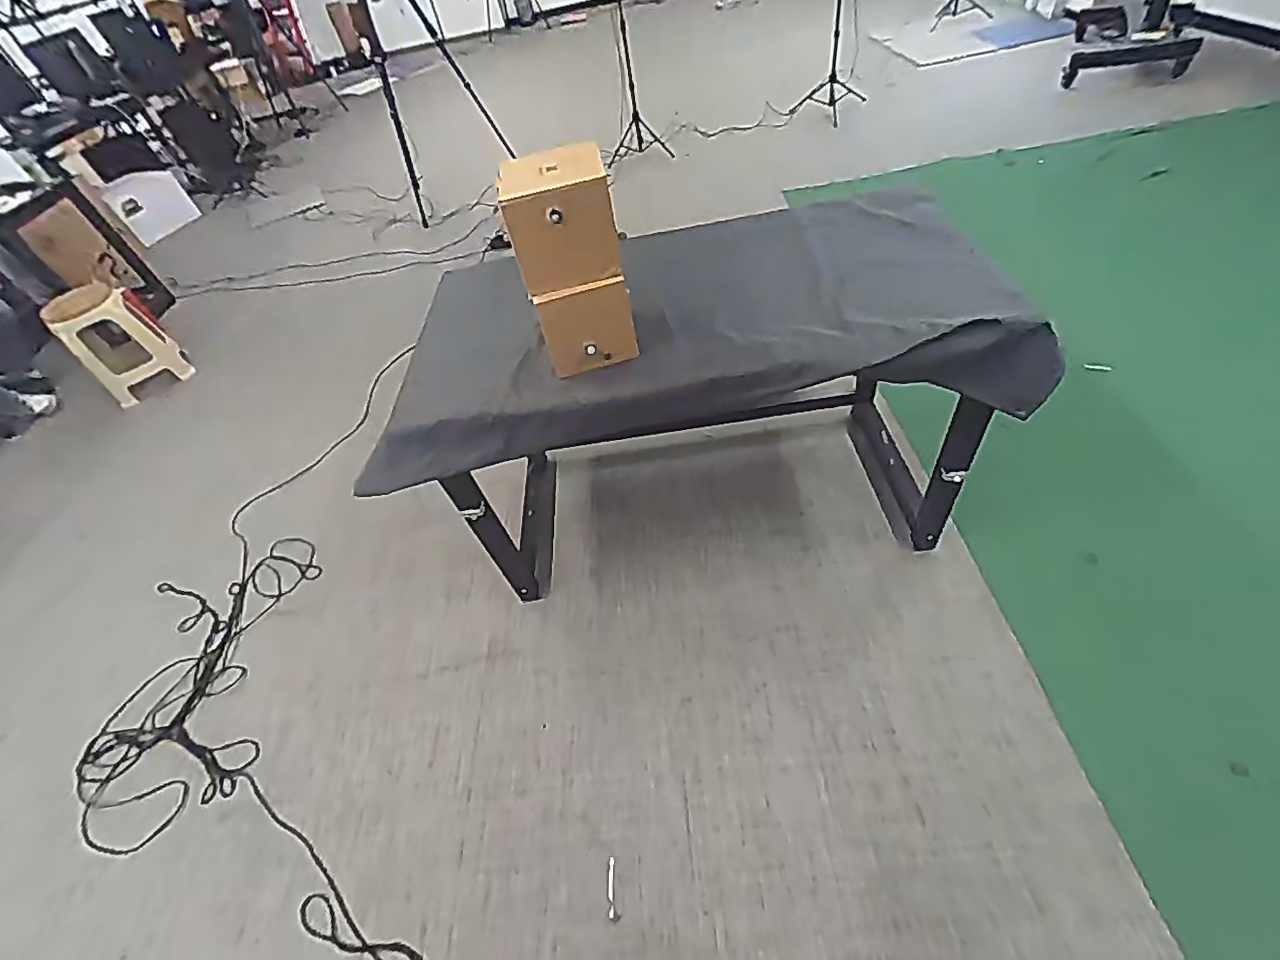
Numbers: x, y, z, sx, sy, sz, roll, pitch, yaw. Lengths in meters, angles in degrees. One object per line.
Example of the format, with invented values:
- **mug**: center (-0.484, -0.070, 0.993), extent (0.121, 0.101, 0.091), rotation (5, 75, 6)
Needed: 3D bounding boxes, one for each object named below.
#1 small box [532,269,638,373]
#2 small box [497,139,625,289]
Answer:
- **small box**: center (-0.110, -0.336, 1.043), extent (0.168, 0.176, 0.179), rotation (-16, 49, -1)
- **small box**: center (-0.133, -0.453, 0.931), extent (0.179, 0.176, 0.168), rotation (-12, 50, 0)
